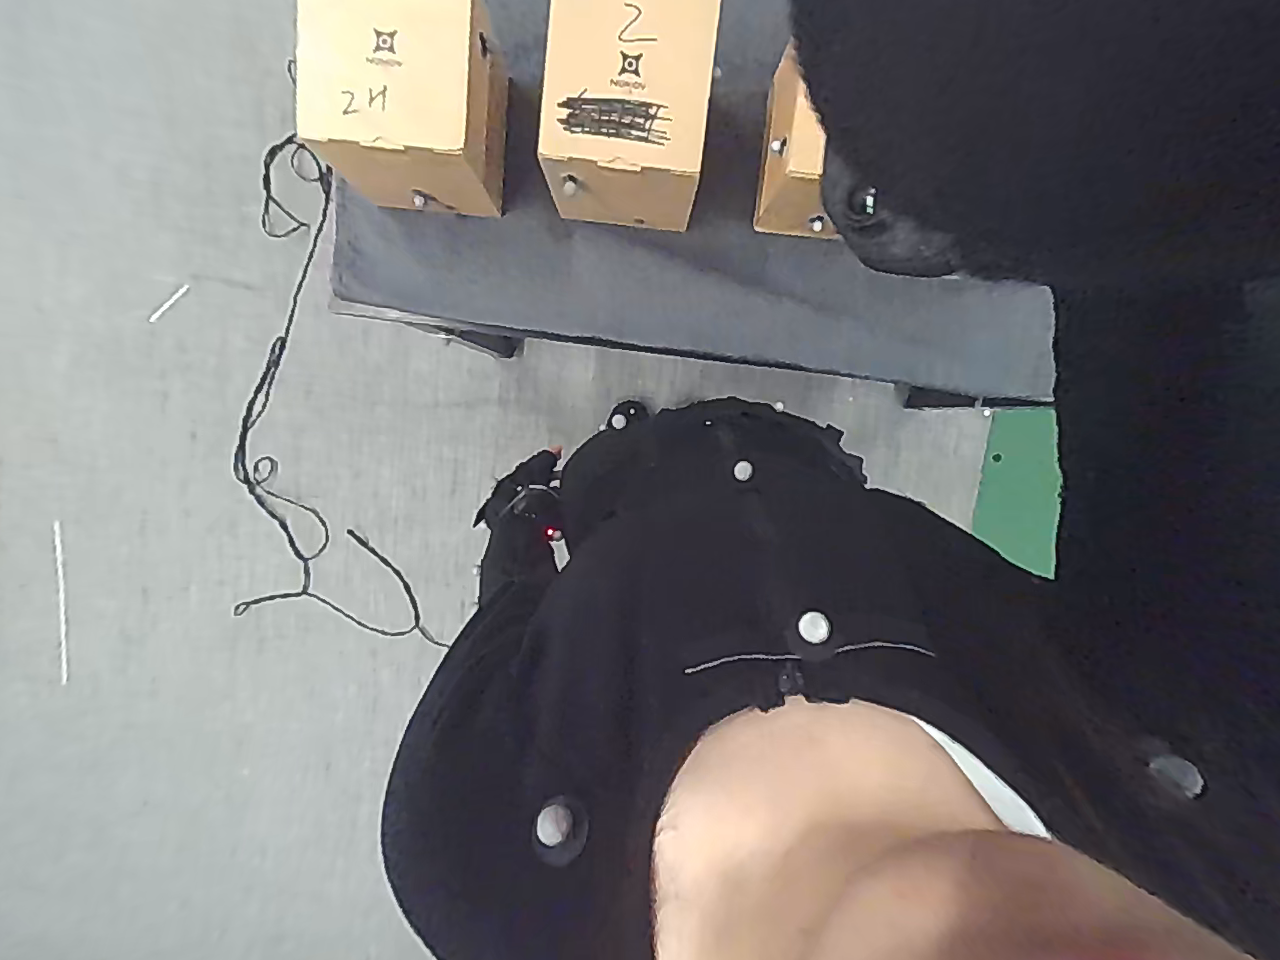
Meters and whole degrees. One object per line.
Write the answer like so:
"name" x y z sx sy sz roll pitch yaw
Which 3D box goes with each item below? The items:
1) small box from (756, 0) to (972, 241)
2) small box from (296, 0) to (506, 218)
"small box" 0.237 -0.396 0.618 0.168 0.176 0.179 5 98 -2
"small box" -0.250 -0.421 0.602 0.168 0.176 0.179 4 96 -2
